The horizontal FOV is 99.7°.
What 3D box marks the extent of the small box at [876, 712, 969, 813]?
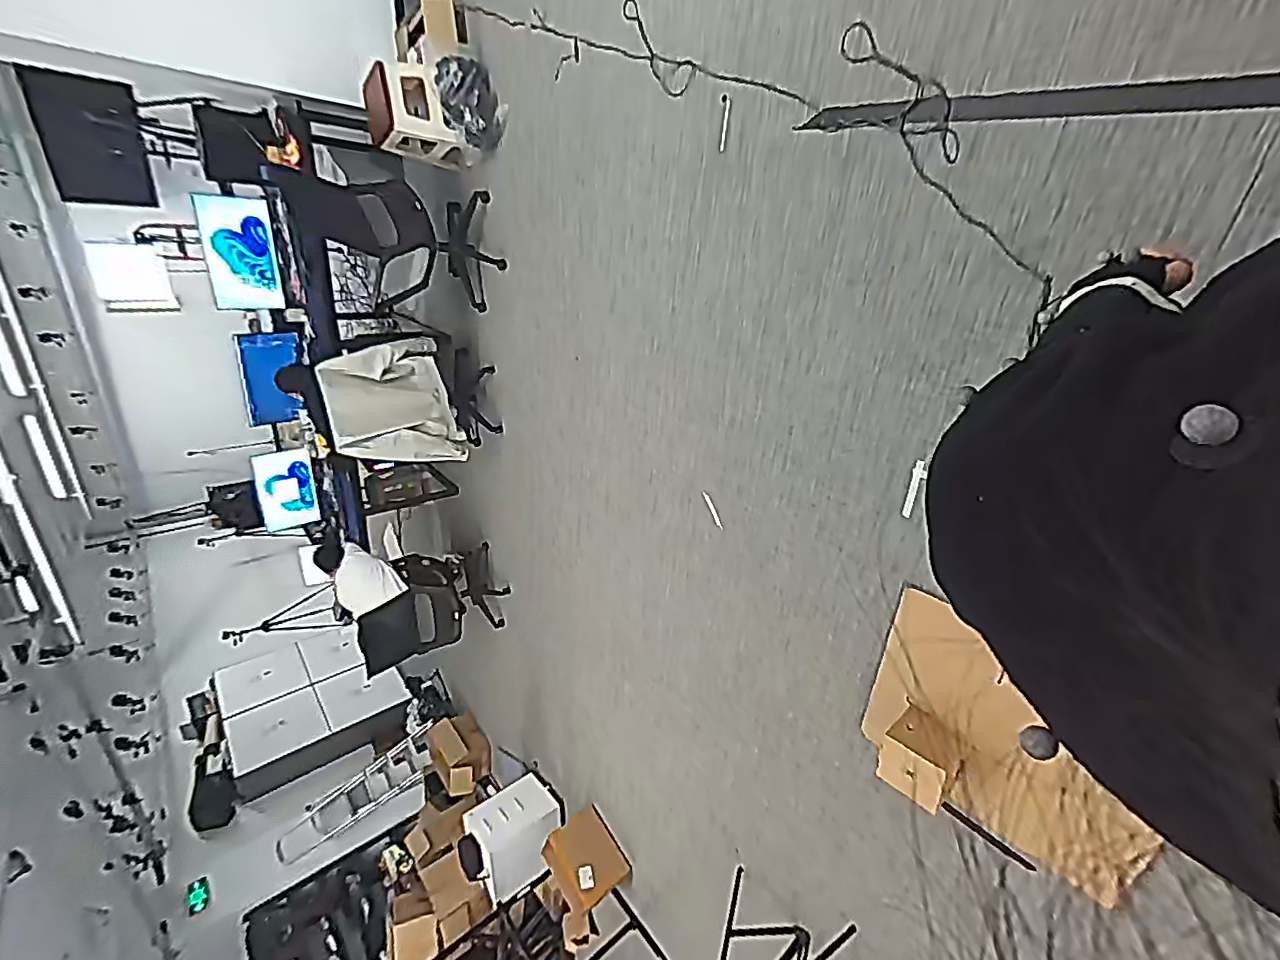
[{"bbox_3d":[0.828,0.814,1.588,0.179,0.176,0.168,22,120,44],"label":"small box"}]
